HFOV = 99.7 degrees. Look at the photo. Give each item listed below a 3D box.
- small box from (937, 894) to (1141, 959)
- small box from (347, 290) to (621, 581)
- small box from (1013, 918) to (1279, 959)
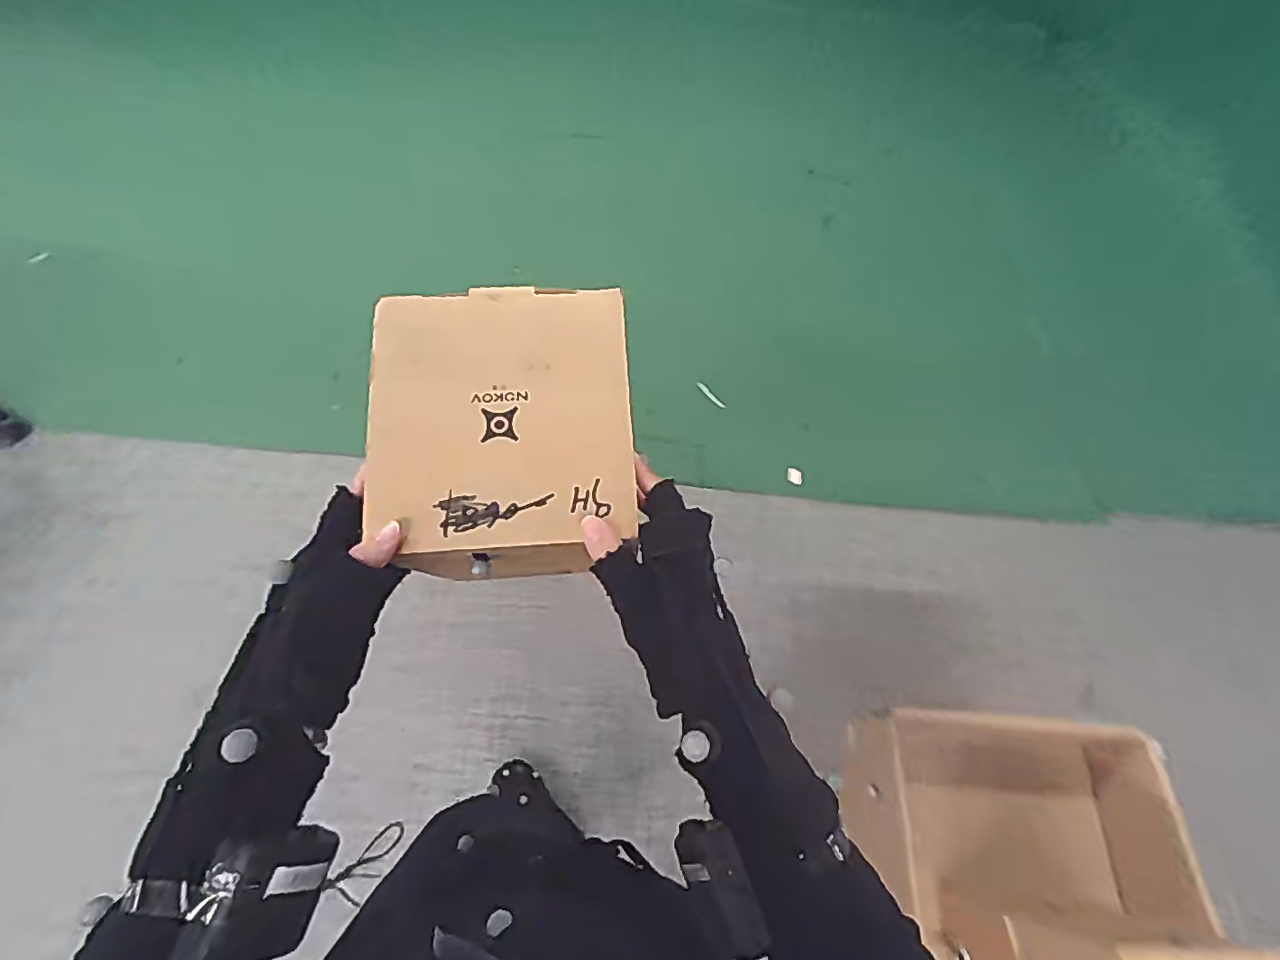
[{"bbox_3d":[0.524,0.645,0.692,0.179,0.176,0.168,1,60,-2],"label":"small box"},{"bbox_3d":[-0.103,-0.022,0.427,0.168,0.176,0.179,-5,74,-3],"label":"small box"},{"bbox_3d":[0.536,0.566,0.549,0.179,0.176,0.168,3,59,-1],"label":"small box"}]
